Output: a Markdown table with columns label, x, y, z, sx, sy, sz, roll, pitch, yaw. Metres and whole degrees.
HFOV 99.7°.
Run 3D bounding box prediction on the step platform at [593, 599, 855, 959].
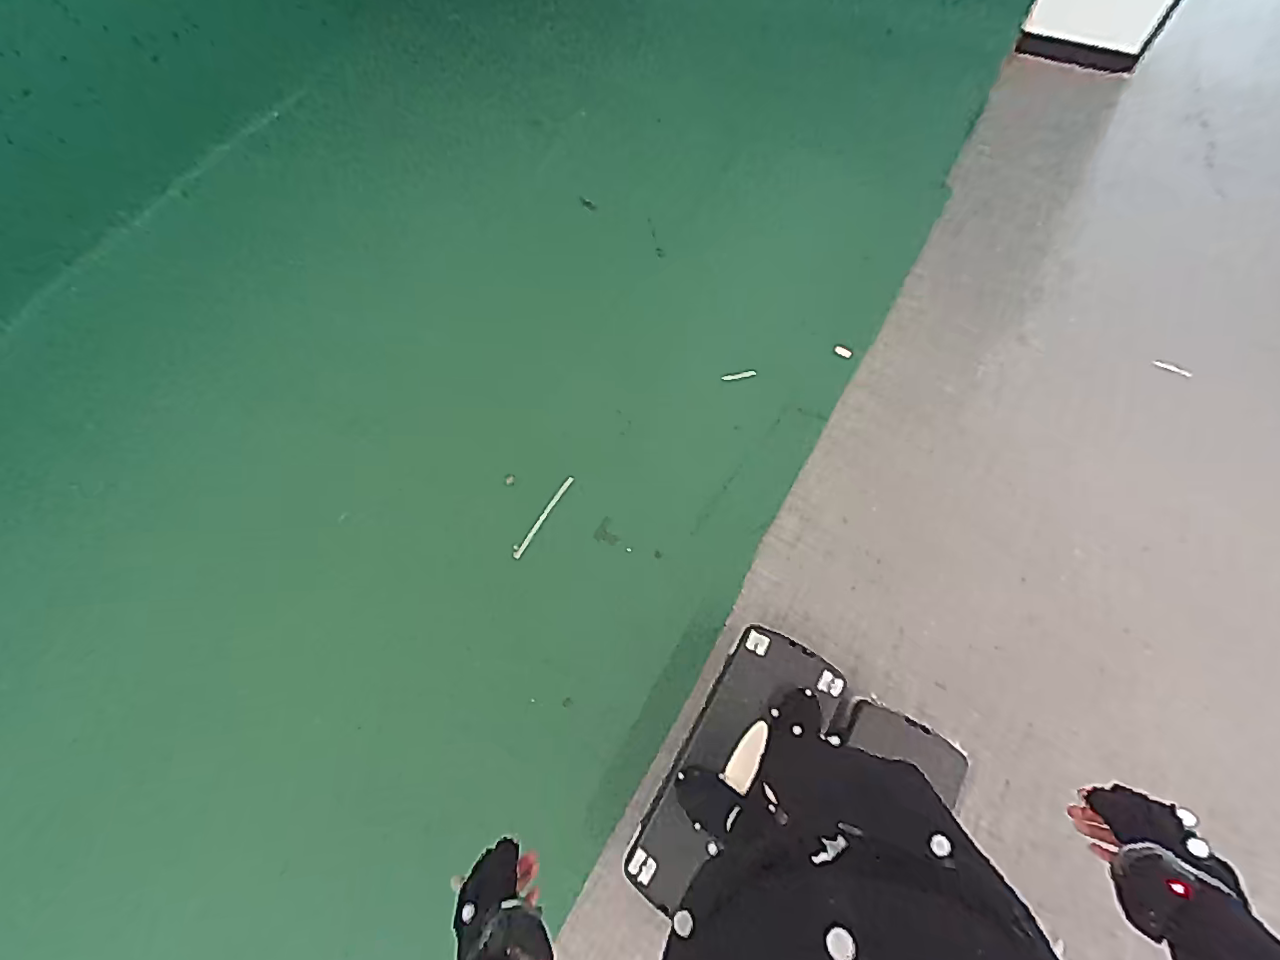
| label | x | y | z | sx | sy | sz | roll | pitch | yaw |
| --- | --- | --- | --- | --- | --- | --- | --- | --- | --- |
| step platform | 0.187 | 0.614 | 1.157 | 0.286 | 0.204 | 0.684 | 28 | 73 | 14 |
